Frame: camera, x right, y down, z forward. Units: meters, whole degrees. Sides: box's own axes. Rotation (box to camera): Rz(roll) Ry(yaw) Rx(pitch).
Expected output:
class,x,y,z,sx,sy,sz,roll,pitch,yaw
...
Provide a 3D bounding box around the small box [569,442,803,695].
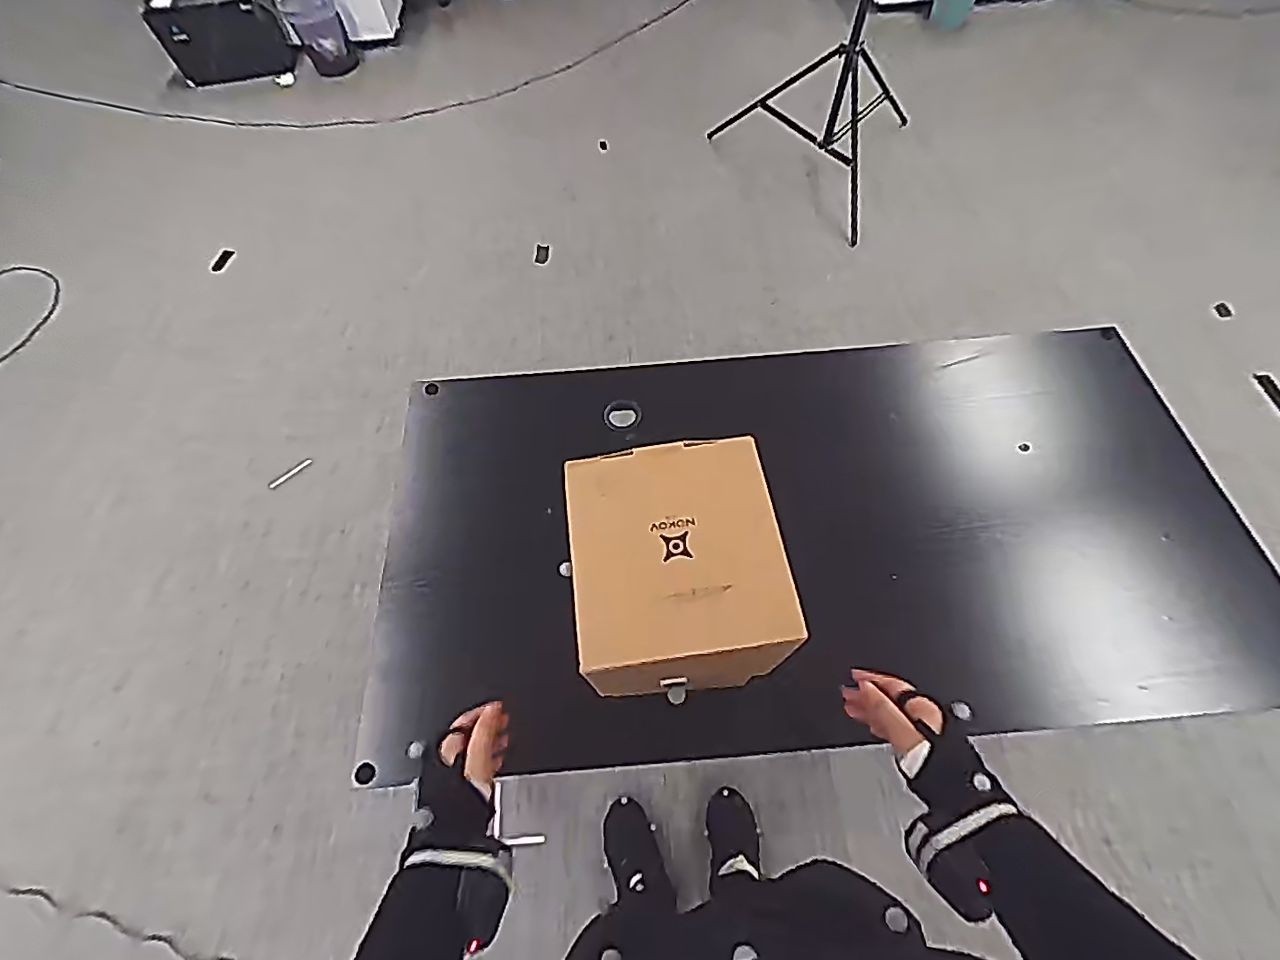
class,x,y,z,sx,sy,sz,roll,pitch,yaw
small box,0.032,0.090,0.503,0.168,0.176,0.179,-9,63,-1
